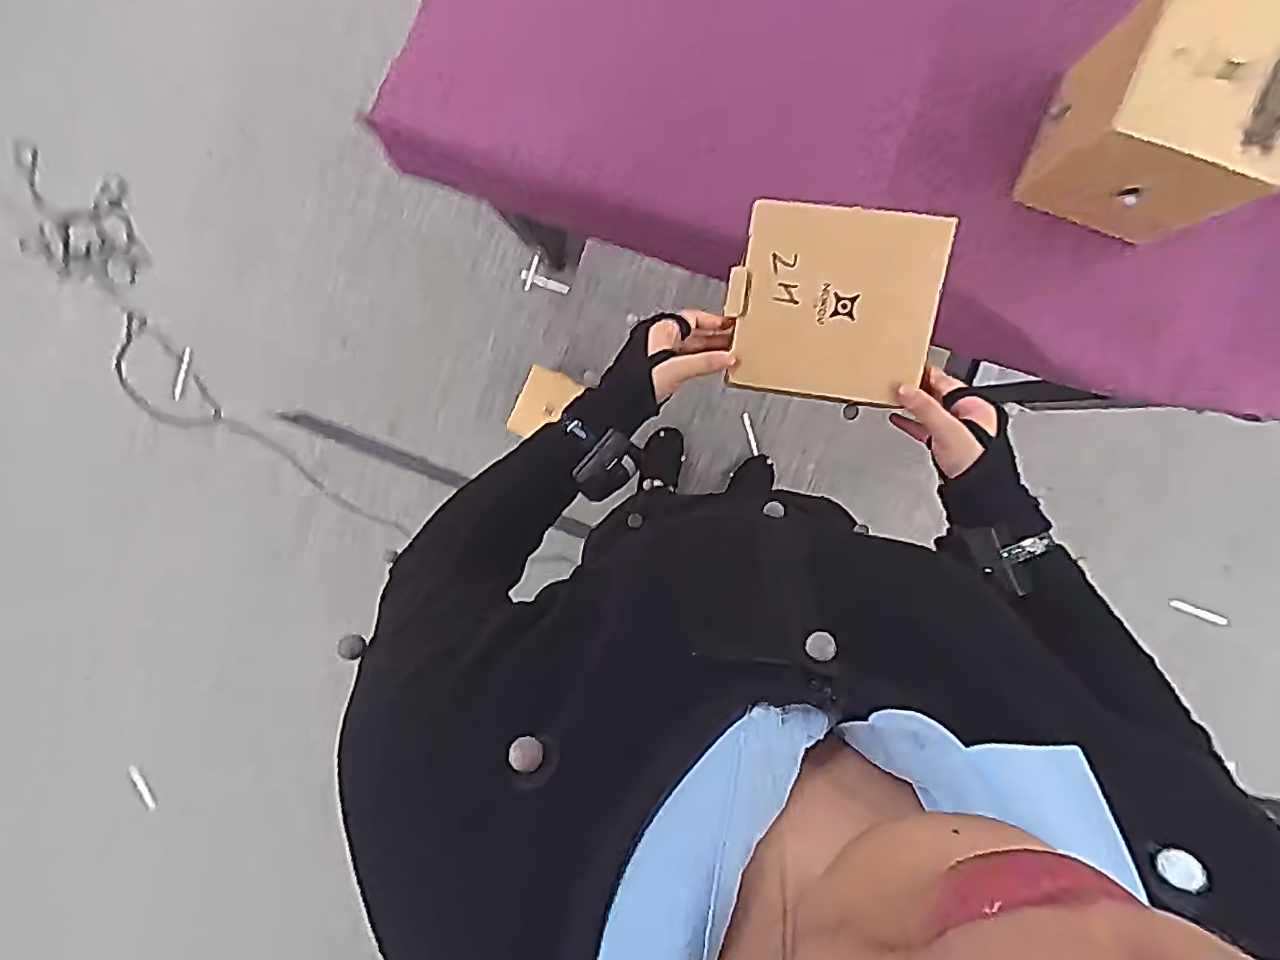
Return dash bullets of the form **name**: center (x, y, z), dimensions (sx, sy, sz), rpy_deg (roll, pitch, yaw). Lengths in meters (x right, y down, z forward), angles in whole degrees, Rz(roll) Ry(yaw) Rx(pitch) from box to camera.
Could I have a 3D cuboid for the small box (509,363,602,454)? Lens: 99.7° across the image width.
- **small box**: center (-0.212, -0.185, 1.413), dimensions (0.168, 0.176, 0.179), rpy_deg (26, 97, 0)
